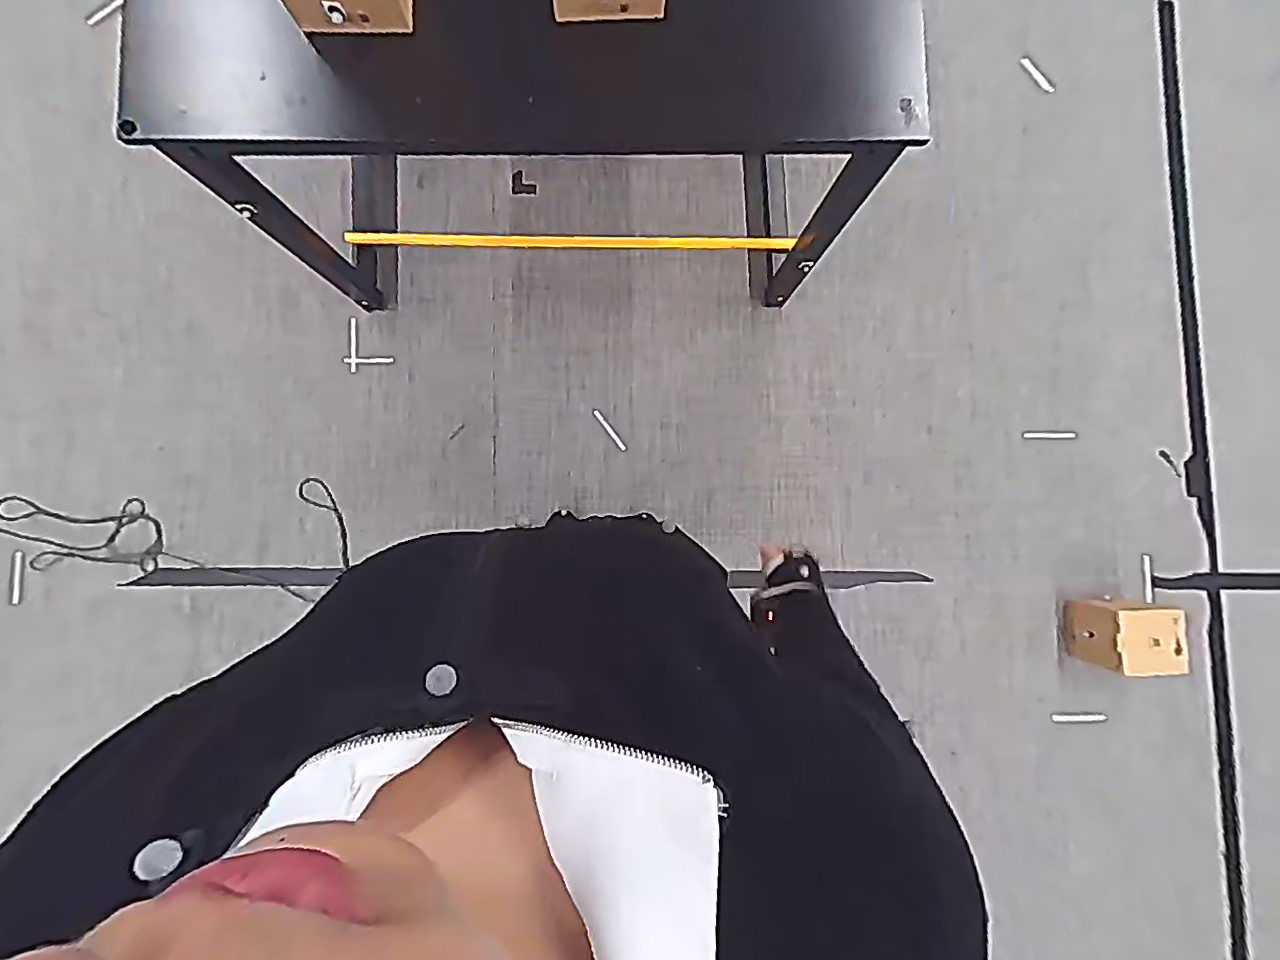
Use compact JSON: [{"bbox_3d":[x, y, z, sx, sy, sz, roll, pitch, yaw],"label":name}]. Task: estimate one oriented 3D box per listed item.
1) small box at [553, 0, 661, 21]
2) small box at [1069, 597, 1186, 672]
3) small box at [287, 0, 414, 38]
[{"bbox_3d":[-0.052,-0.792,0.749,0.168,0.176,0.179,-4,87,-2],"label":"small box"},{"bbox_3d":[1.297,0.410,1.453,0.179,0.176,0.168,-1,87,-1],"label":"small box"},{"bbox_3d":[-0.423,-0.758,0.738,0.168,0.176,0.179,-3,87,-1],"label":"small box"}]
